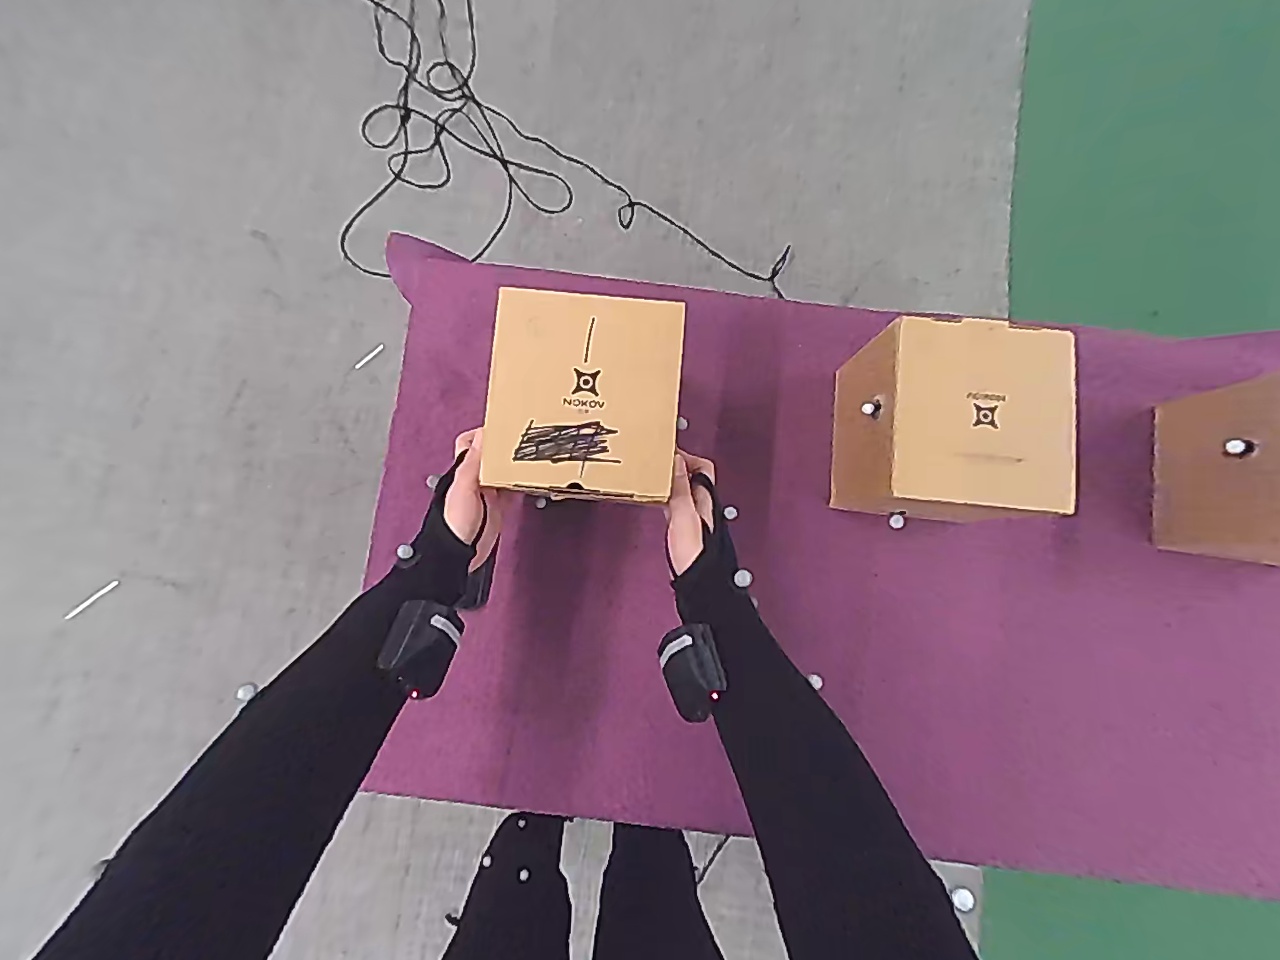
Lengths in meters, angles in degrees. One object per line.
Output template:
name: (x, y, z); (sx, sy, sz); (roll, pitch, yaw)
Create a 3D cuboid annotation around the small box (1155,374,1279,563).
small box: (0.694, -0.011, 0.564); (0.168, 0.176, 0.179); (8, 82, 1)

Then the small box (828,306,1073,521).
small box: (0.308, -0.057, 0.568); (0.168, 0.176, 0.179); (6, 82, 1)

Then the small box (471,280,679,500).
small box: (-0.055, -0.074, 0.540); (0.168, 0.176, 0.179); (5, 85, 0)
